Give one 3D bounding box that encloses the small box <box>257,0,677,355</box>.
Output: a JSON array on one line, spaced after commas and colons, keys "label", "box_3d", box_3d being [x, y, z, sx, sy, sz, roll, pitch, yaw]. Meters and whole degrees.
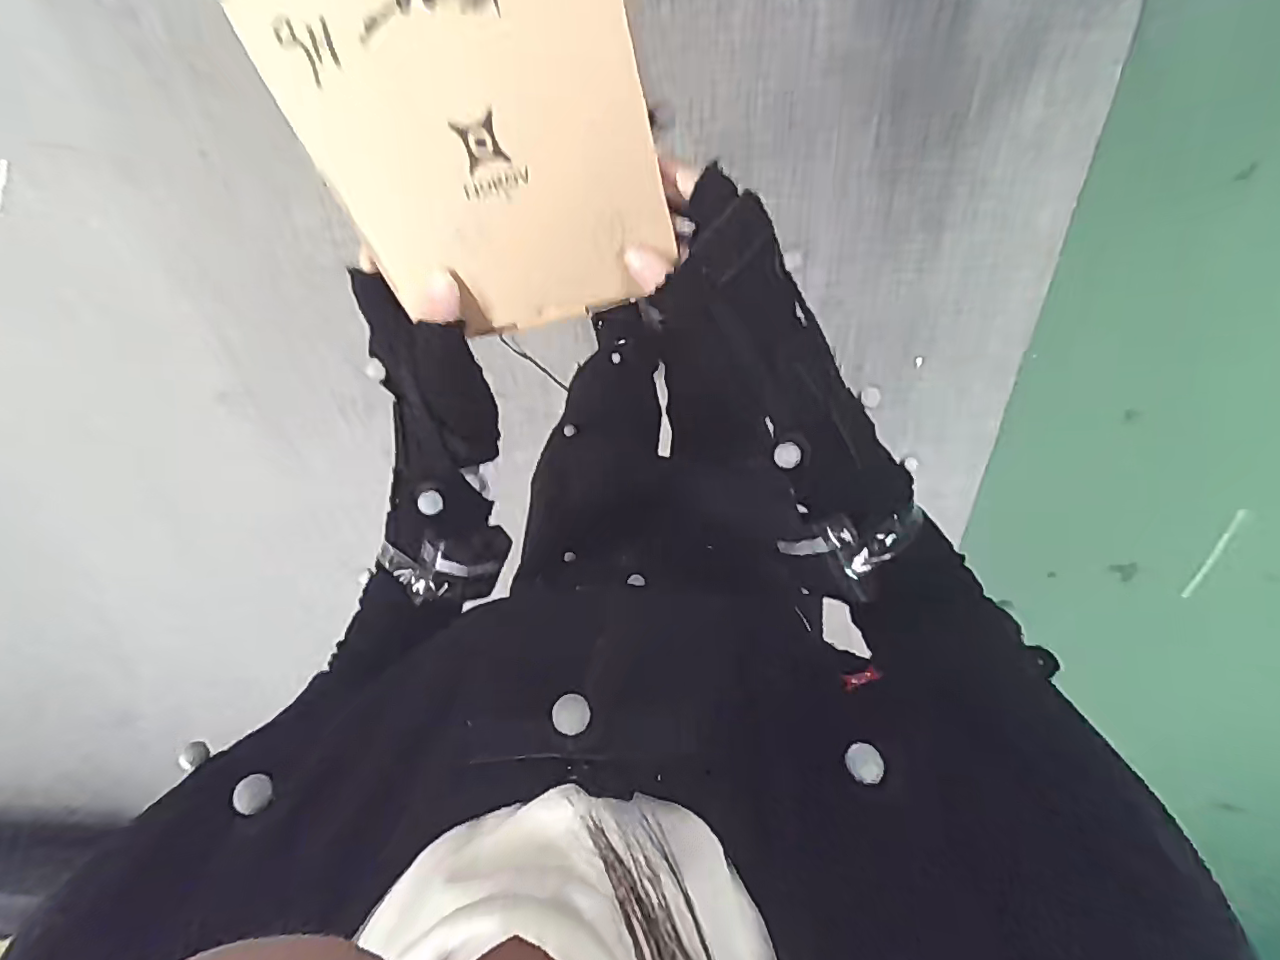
[{"label": "small box", "box_3d": [-0.072, -0.210, 0.341, 0.168, 0.176, 0.179, -10, 134, 10]}]
